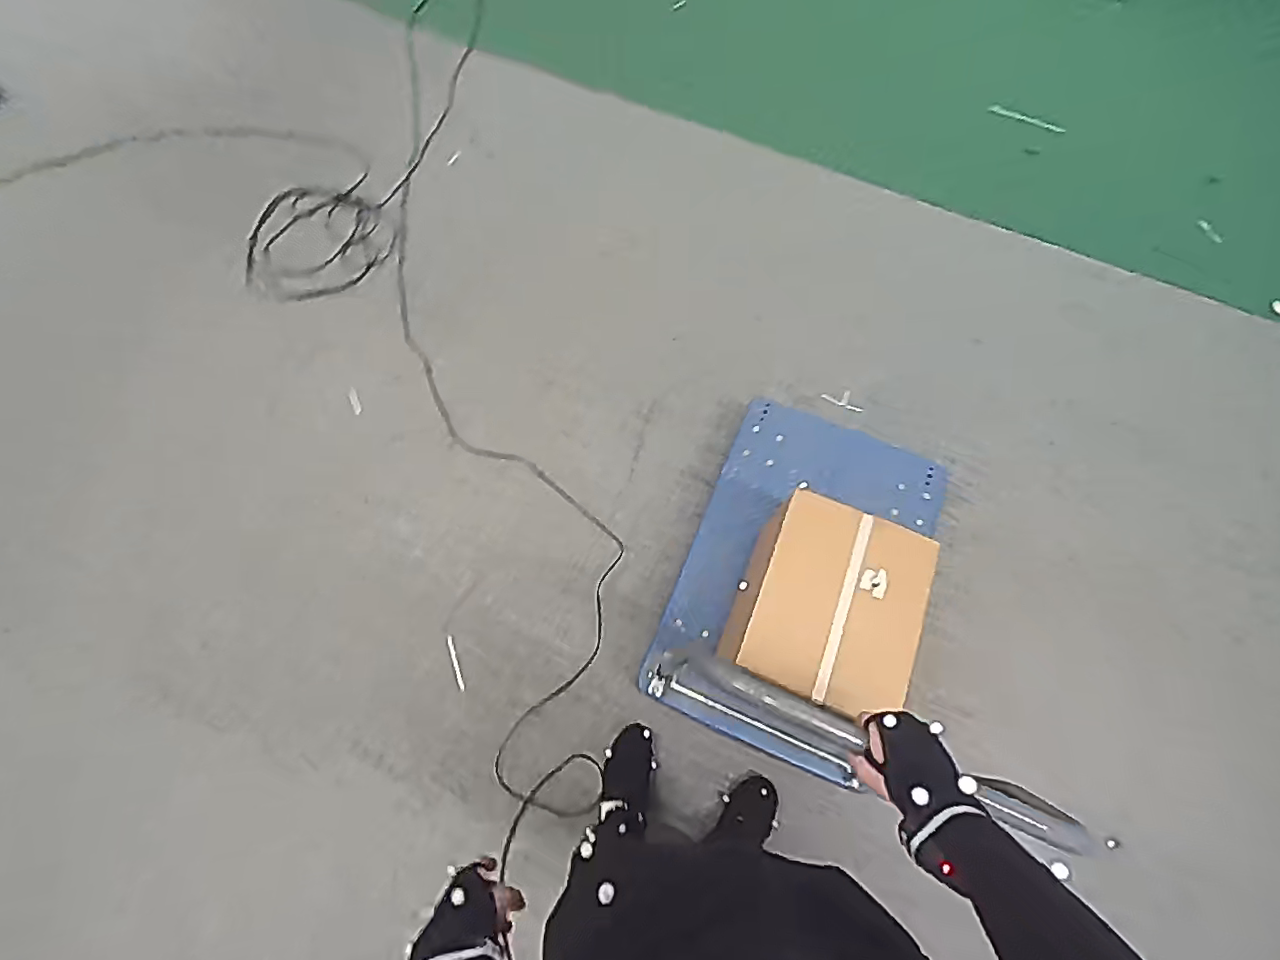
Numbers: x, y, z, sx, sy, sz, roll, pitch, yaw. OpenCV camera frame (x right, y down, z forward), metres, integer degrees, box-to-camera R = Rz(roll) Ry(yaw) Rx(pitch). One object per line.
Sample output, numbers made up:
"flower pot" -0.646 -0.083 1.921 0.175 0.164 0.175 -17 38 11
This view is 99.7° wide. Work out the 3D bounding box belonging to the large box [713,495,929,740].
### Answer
"large box" 0.383 0.310 1.205 0.320 0.320 0.408 22 69 6
